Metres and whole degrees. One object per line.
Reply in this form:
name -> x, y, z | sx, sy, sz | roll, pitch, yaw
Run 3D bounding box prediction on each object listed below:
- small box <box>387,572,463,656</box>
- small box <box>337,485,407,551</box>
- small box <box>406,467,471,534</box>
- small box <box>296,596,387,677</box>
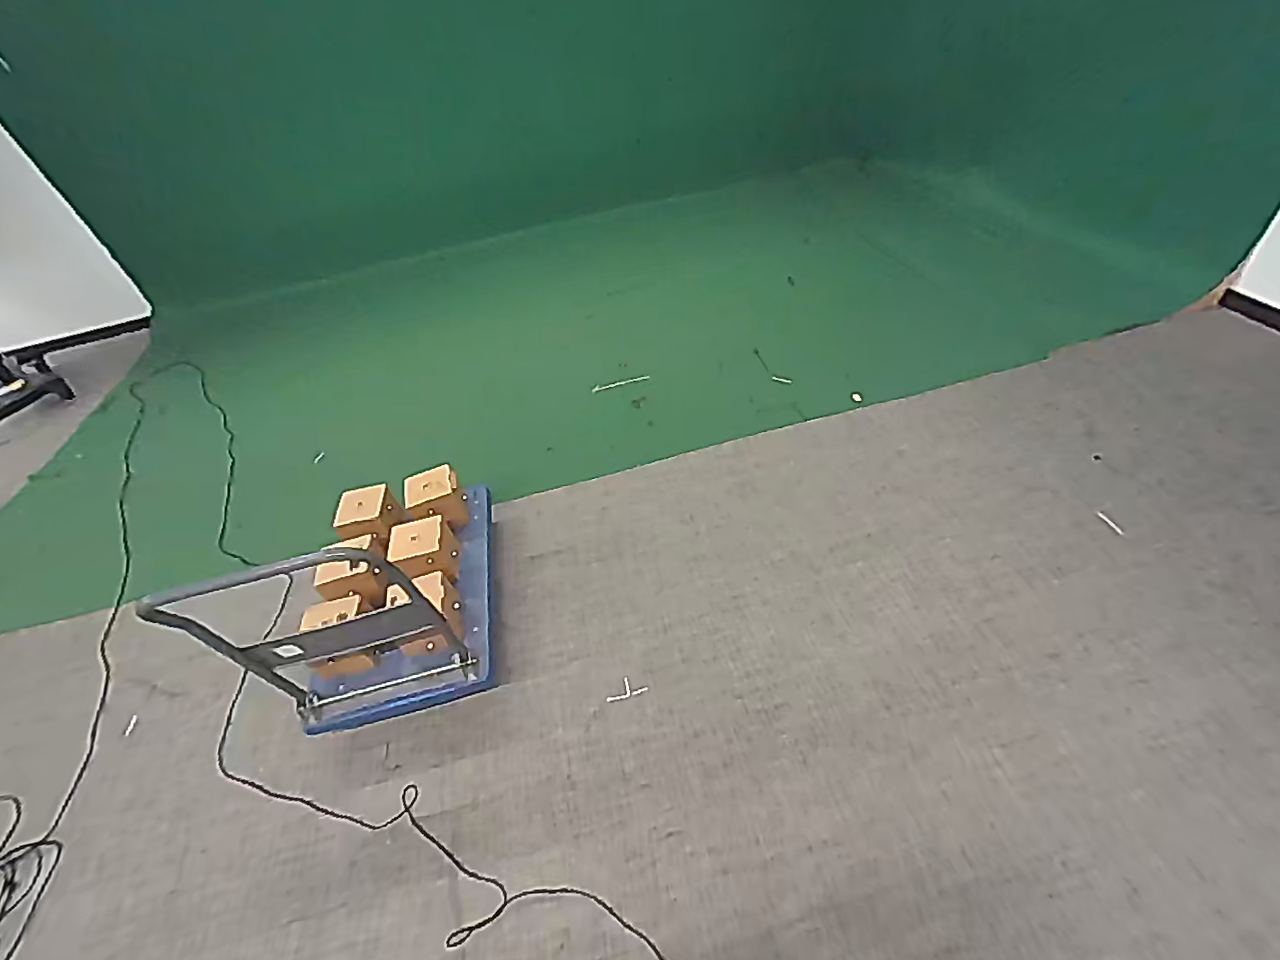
small box -> -0.664, 0.422, 1.695 | 0.179, 0.176, 0.168 | -16, 45, -4
small box -> -1.001, 0.149, 2.037 | 0.168, 0.176, 0.179 | -12, 45, -1
small box -> -0.757, 0.083, 2.045 | 0.179, 0.176, 0.168 | -14, 48, -3
small box -> -0.919, 0.489, 1.684 | 0.179, 0.176, 0.168 | -13, 44, 0
